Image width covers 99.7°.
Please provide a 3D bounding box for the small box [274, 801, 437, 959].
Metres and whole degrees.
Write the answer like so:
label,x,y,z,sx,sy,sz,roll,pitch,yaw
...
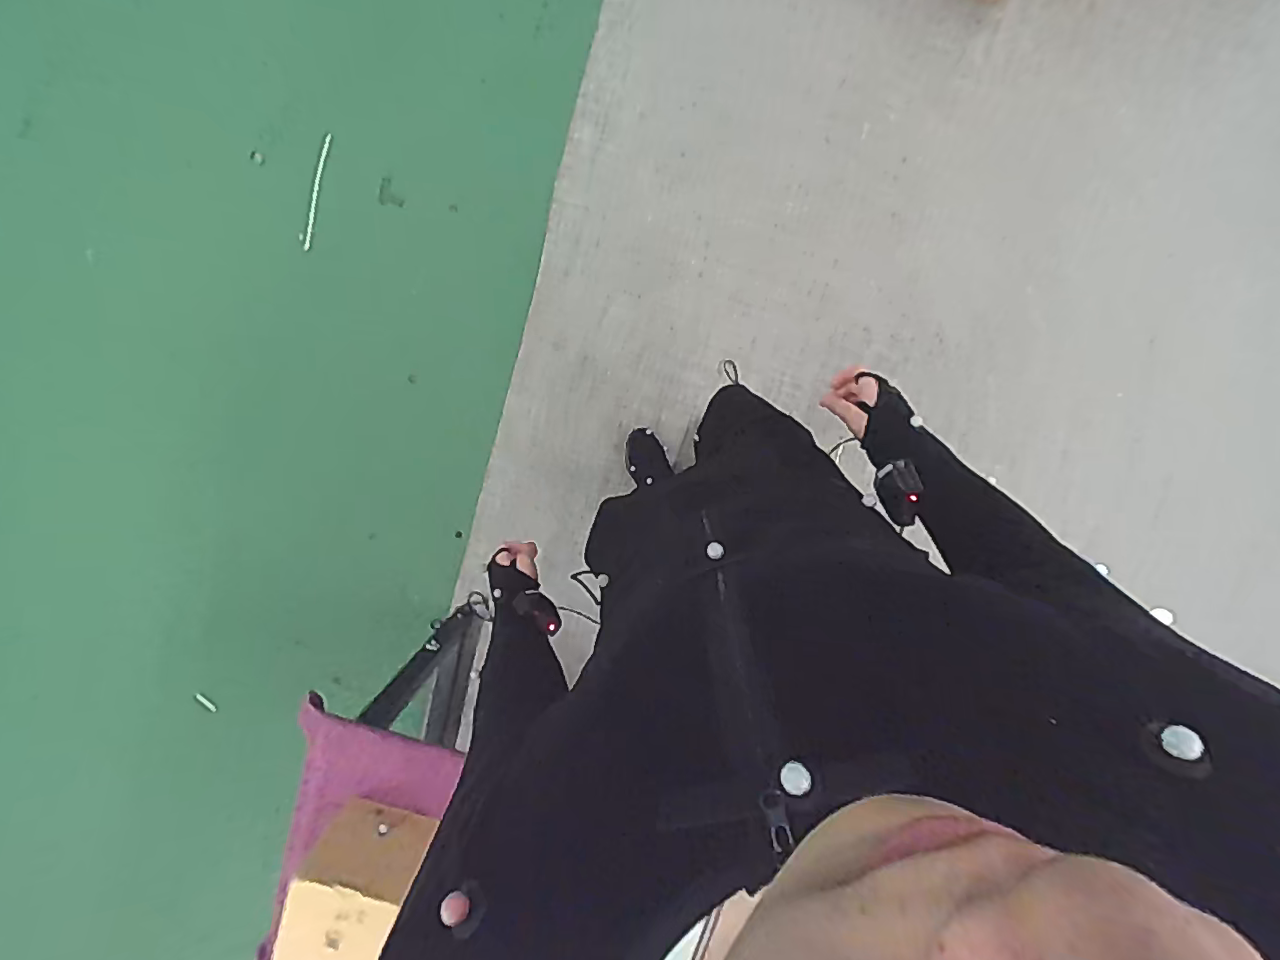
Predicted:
label,x,y,z,sx,sy,sz,roll,pitch,yaw
small box,-0.456,0.680,0.890,0.168,0.176,0.179,17,98,-3
